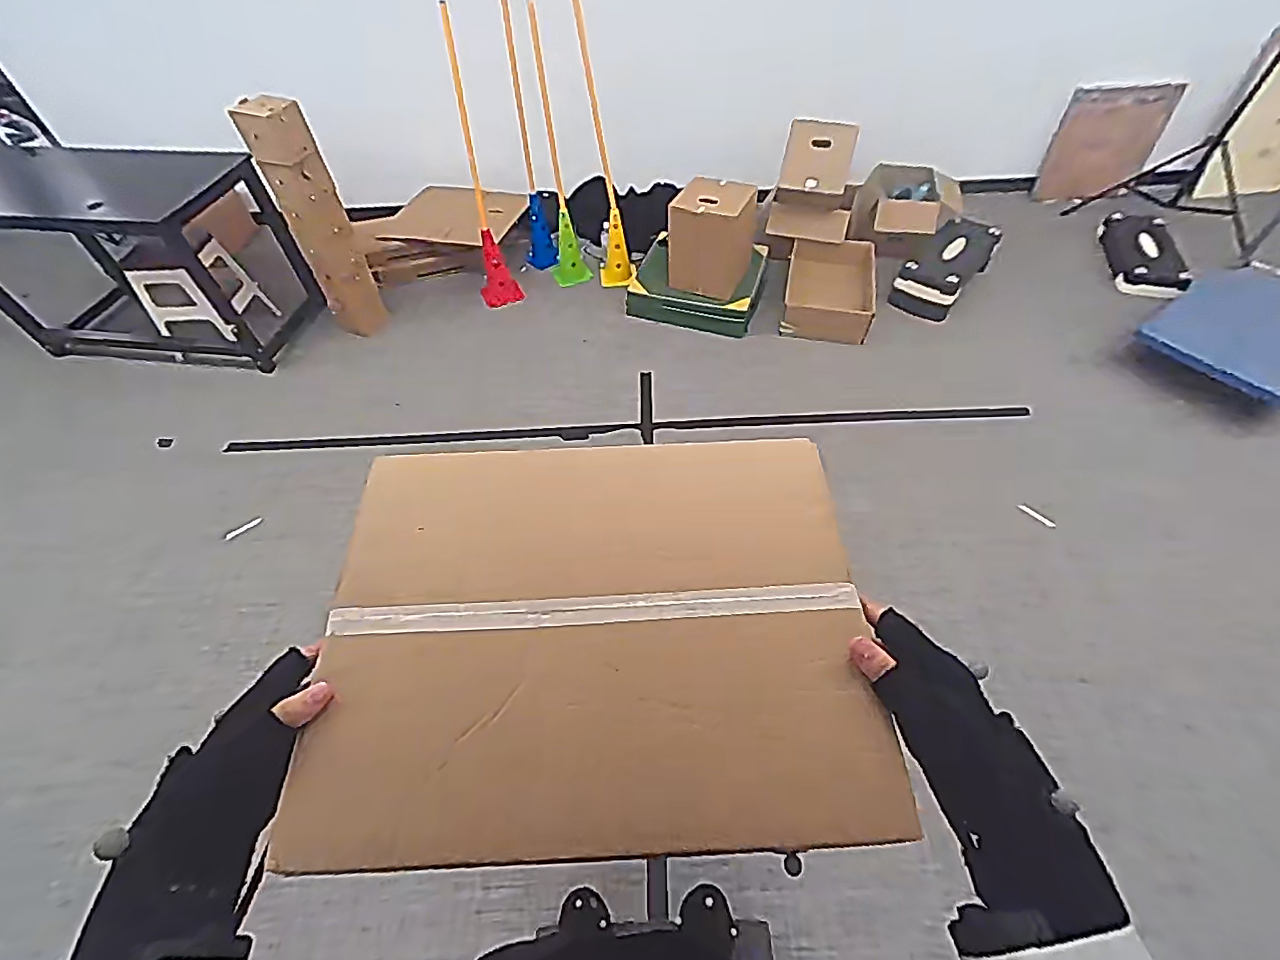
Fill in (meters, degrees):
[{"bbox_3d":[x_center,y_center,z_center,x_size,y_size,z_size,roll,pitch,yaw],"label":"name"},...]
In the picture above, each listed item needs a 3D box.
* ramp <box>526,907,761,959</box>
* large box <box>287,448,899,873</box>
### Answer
[{"bbox_3d":[0.018,1.359,0.924,0.509,0.206,0.991,-2,53,-2],"label":"ramp"},{"bbox_3d":[-0.033,0.187,0.551,0.408,0.320,0.320,-2,56,-1],"label":"large box"}]
